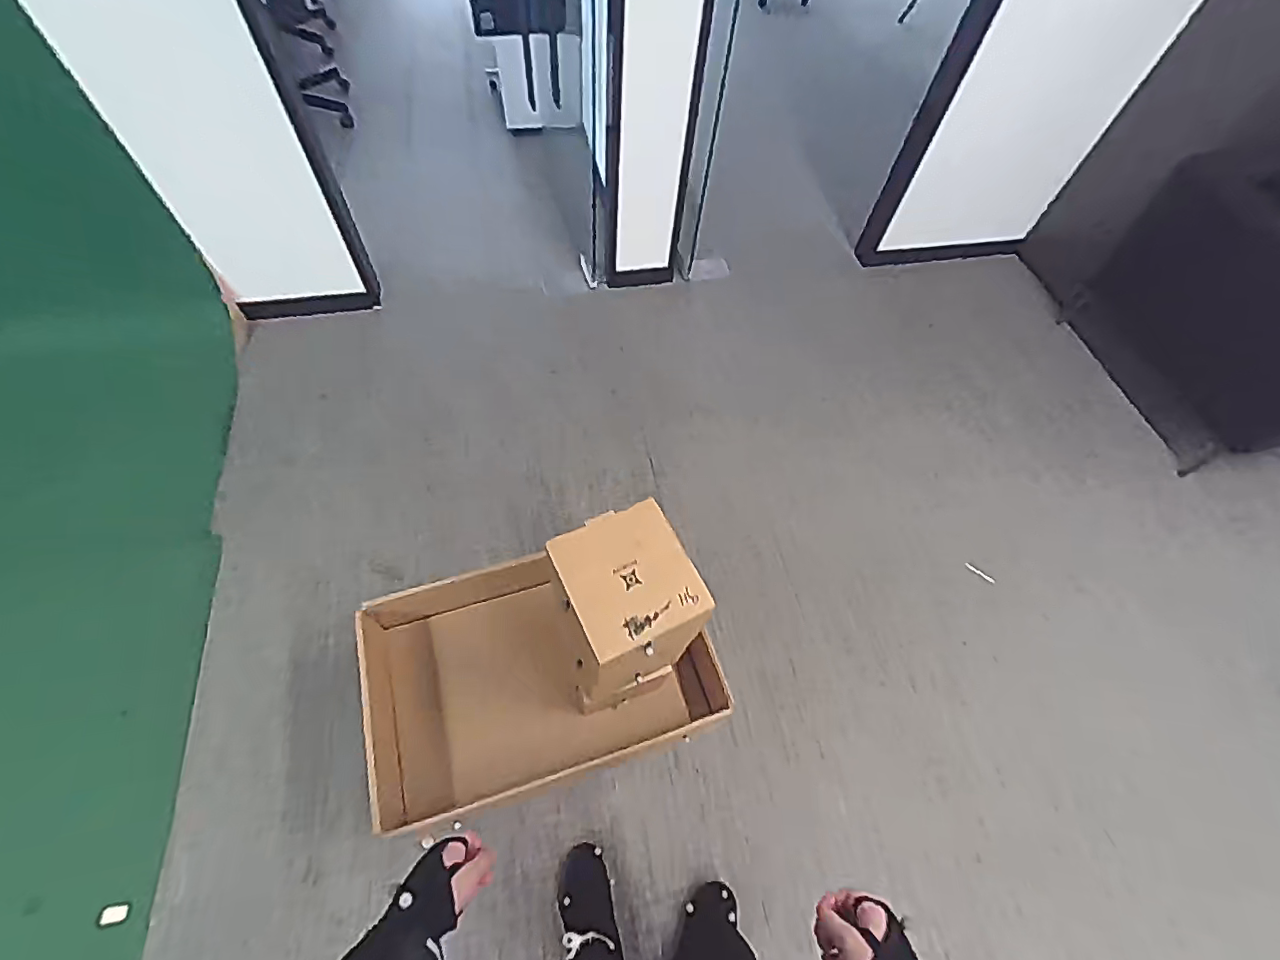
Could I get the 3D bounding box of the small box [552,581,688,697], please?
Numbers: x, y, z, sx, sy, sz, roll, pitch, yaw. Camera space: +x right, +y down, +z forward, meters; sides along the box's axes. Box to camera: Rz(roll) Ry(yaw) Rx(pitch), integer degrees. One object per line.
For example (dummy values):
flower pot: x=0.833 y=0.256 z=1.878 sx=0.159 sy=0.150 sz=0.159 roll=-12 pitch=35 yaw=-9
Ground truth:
small box: x=-0.036 y=0.241 z=0.895 sx=0.168 sy=0.176 sz=0.179 roll=-20 pitch=63 yaw=-17

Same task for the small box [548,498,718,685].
small box: x=-0.018 y=0.159 z=0.753 sx=0.168 sy=0.176 sz=0.179 roll=-22 pitch=64 yaw=-16
